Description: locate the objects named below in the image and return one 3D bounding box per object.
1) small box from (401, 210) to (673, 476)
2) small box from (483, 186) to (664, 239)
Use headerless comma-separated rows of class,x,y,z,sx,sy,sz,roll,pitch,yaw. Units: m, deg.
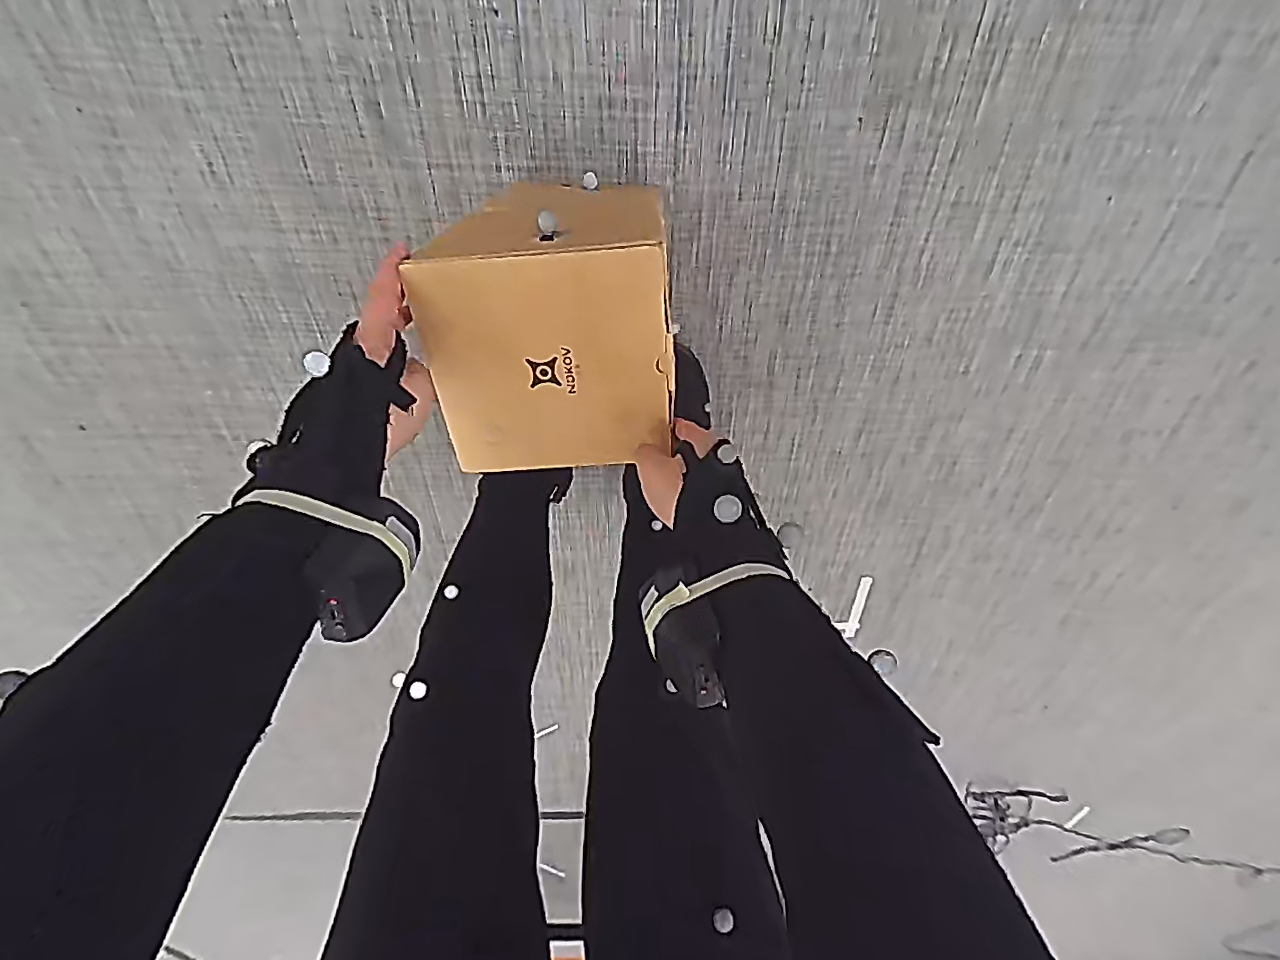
small box,-0.065,-0.121,0.456,0.179,0.176,0.168,-4,125,2
small box,-0.063,-0.210,0.595,0.168,0.176,0.179,2,125,-2
